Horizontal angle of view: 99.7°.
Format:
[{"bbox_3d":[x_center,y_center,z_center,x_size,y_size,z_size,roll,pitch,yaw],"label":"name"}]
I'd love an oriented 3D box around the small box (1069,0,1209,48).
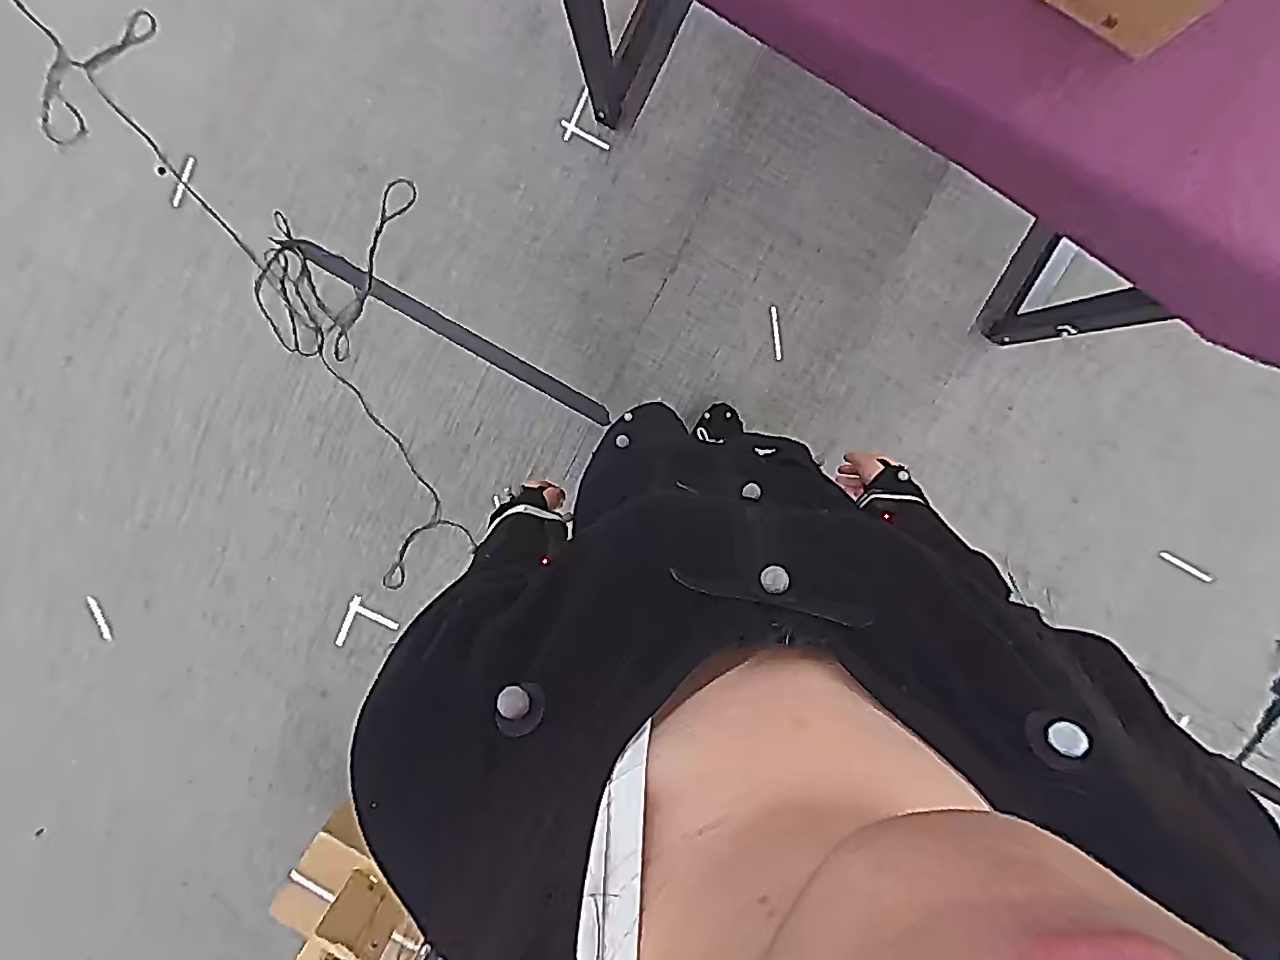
[{"bbox_3d":[0.568,-0.606,0.551,0.168,0.176,0.179,32,99,-3],"label":"small box"}]
